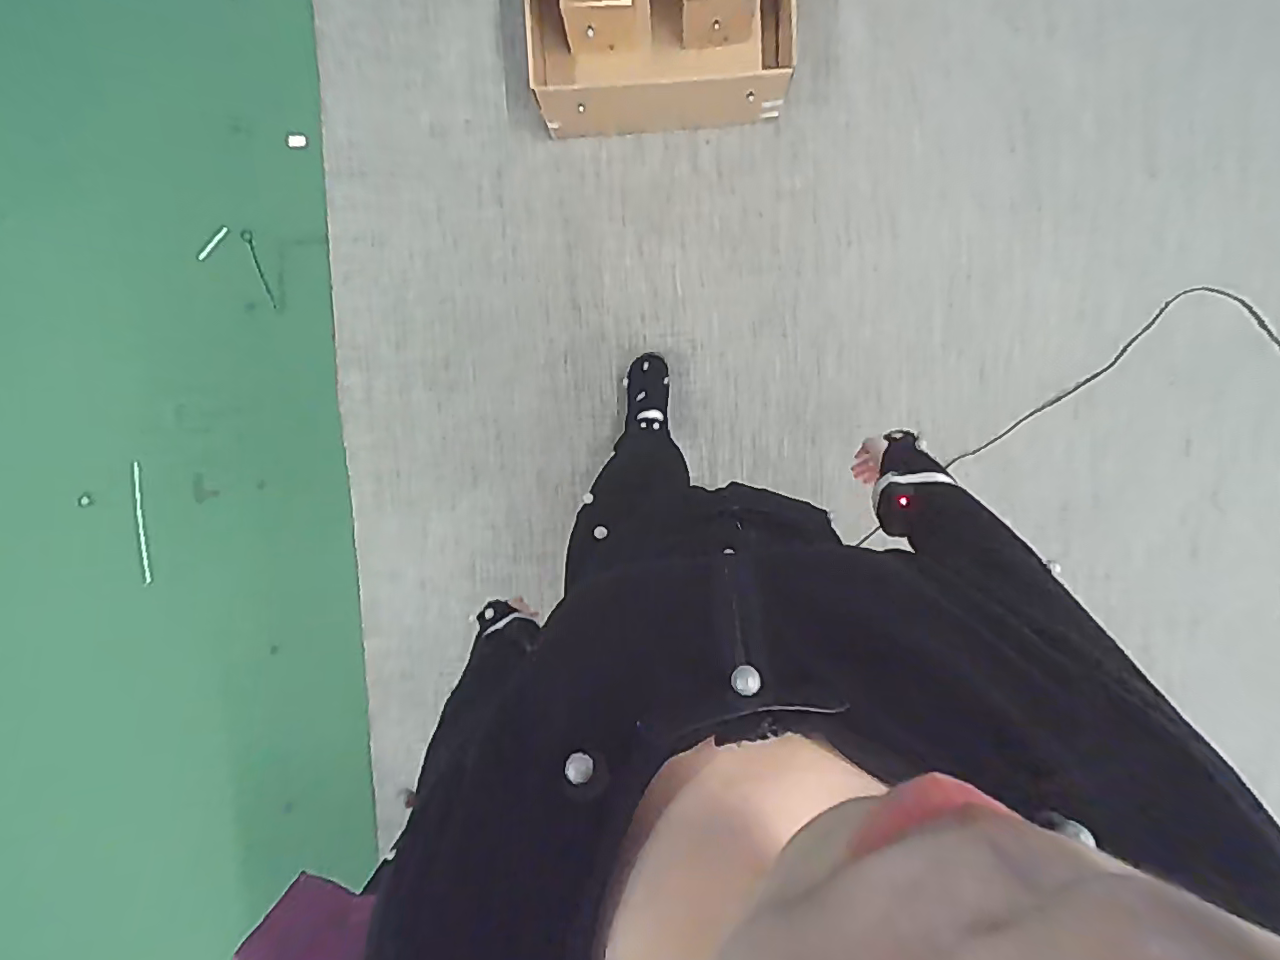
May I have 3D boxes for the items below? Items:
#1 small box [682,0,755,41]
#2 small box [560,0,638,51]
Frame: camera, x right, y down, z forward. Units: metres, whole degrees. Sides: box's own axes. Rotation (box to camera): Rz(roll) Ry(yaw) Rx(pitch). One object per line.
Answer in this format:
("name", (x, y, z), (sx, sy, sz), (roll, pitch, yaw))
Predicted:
("small box", (0.183, -1.165, 1.259), (0.168, 0.176, 0.179), (-2, 95, 4))
("small box", (-0.090, -1.158, 1.279), (0.168, 0.176, 0.179), (2, 95, 3))
